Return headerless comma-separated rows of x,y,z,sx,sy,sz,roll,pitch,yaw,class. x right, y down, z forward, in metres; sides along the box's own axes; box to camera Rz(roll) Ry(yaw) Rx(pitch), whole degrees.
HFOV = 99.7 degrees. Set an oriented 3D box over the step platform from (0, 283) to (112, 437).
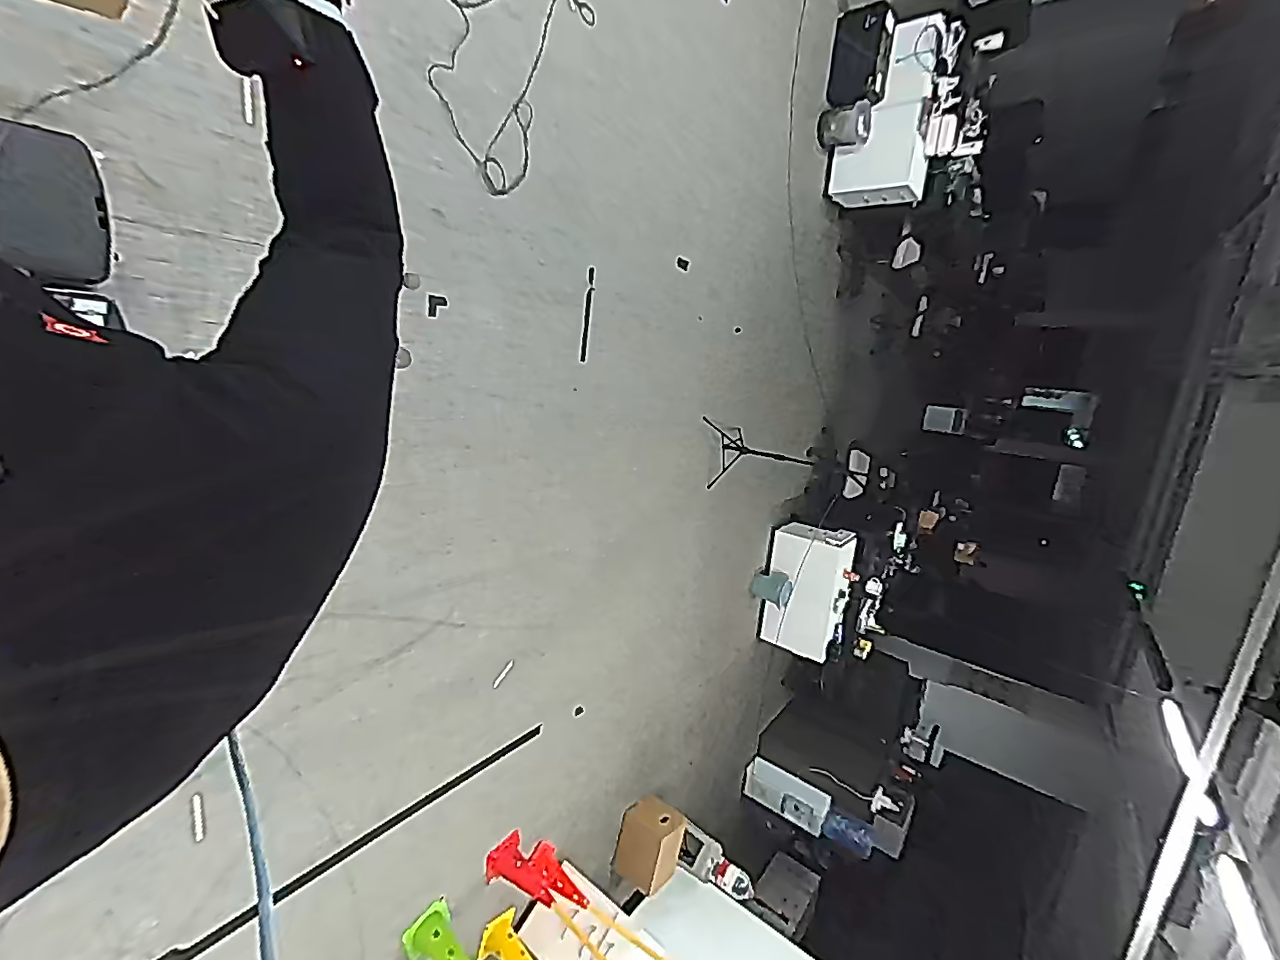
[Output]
-1.342,-0.203,0.886,0.684,0.204,0.286,-13,112,-50,step platform
